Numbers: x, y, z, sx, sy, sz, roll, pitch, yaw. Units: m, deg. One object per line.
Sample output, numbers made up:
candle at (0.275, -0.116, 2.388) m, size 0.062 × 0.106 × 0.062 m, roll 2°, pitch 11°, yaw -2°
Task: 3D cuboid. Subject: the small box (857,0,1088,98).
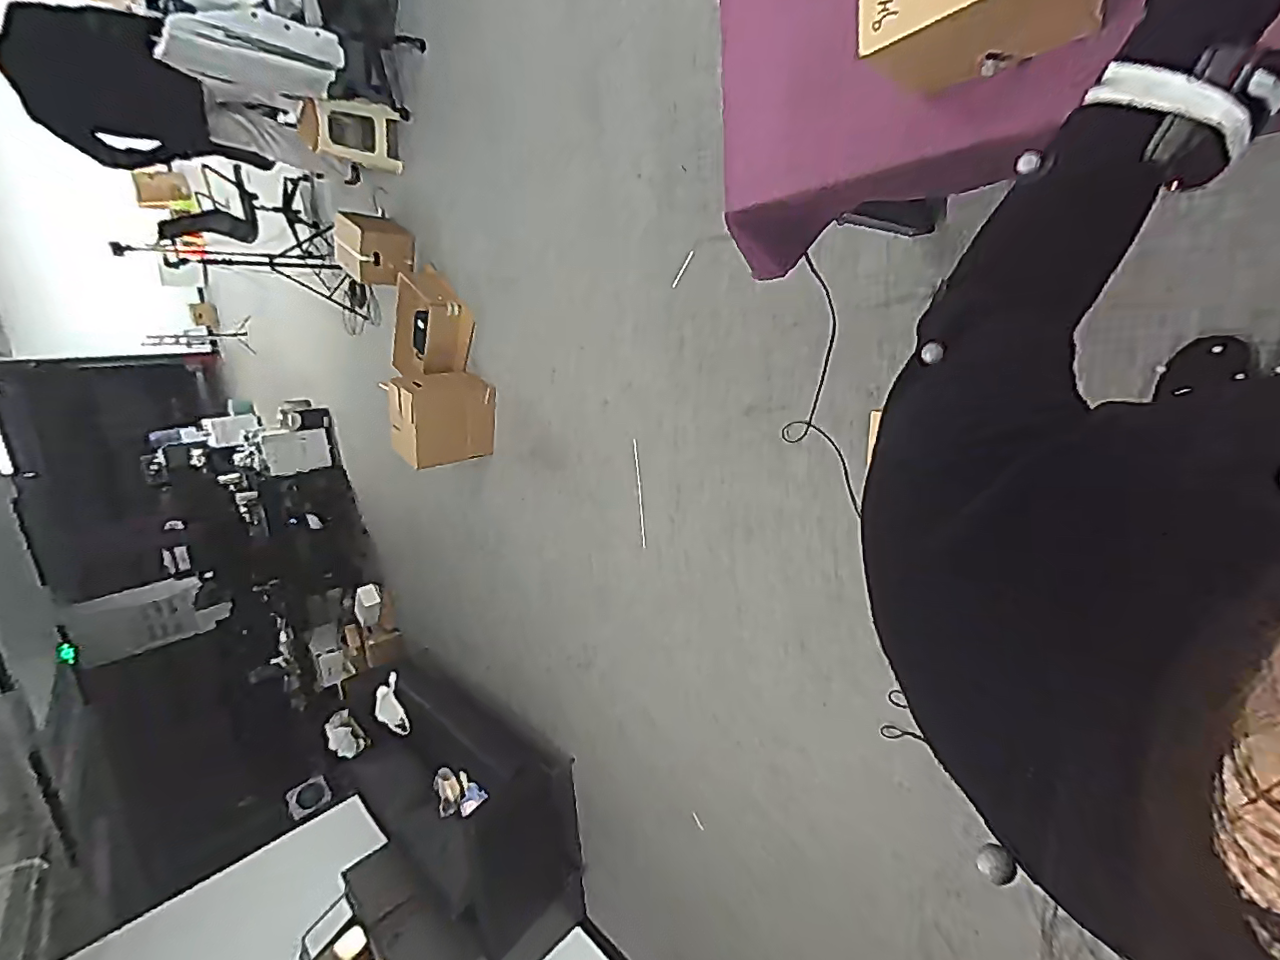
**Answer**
small box at (0.338, -0.524, 0.541) m, size 0.179 × 0.176 × 0.168 m, roll 8°, pitch 107°, yaw 44°
